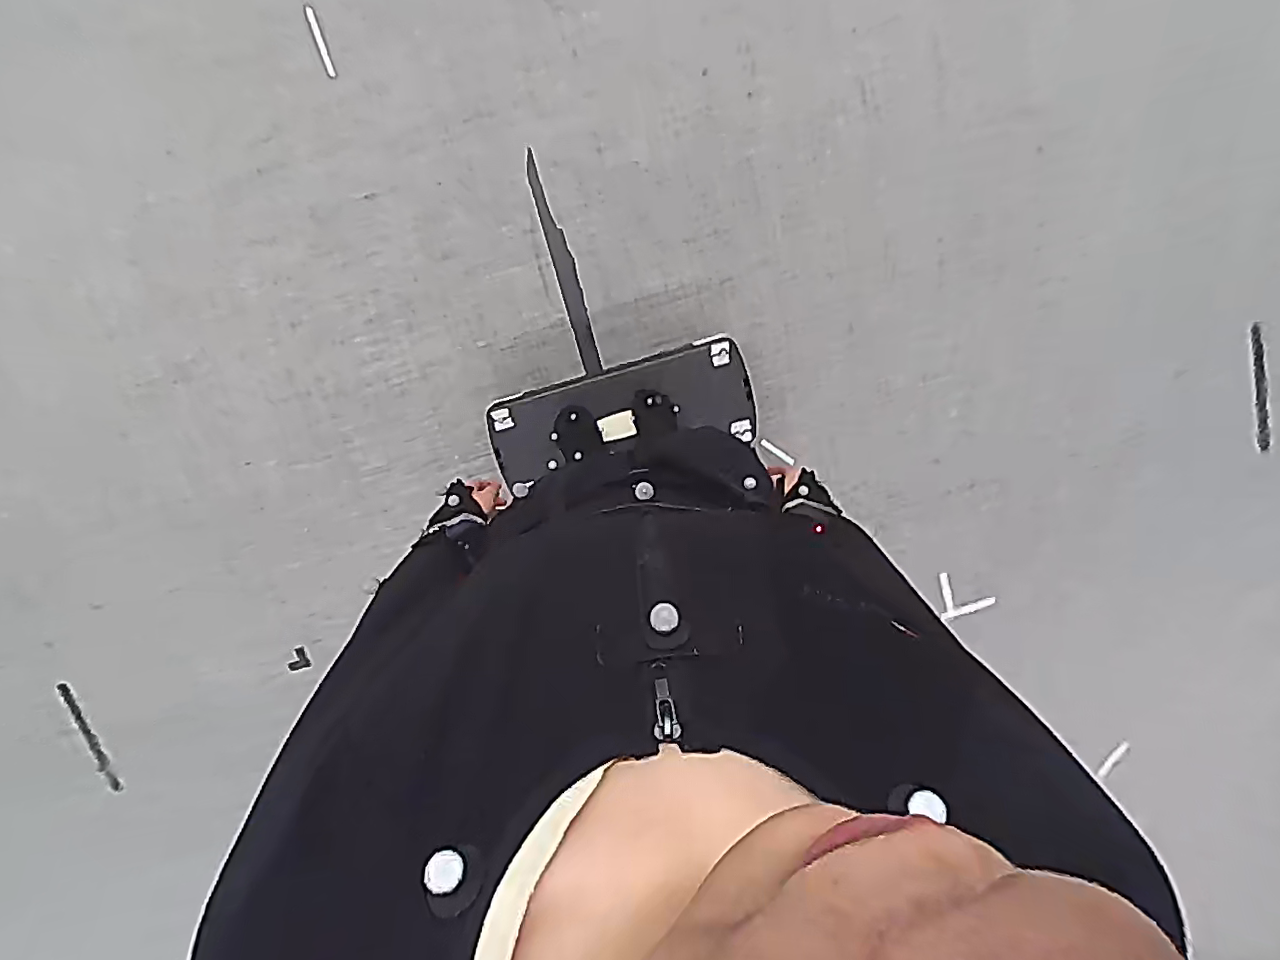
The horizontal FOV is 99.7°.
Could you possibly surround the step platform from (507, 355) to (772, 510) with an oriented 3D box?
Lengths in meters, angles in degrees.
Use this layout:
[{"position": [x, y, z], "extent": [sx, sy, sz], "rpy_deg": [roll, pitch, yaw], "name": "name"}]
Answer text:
[{"position": [-0.002, -0.127, 1.443], "extent": [0.684, 0.204, 0.286], "rpy_deg": [-12, 101, 0], "name": "step platform"}]
